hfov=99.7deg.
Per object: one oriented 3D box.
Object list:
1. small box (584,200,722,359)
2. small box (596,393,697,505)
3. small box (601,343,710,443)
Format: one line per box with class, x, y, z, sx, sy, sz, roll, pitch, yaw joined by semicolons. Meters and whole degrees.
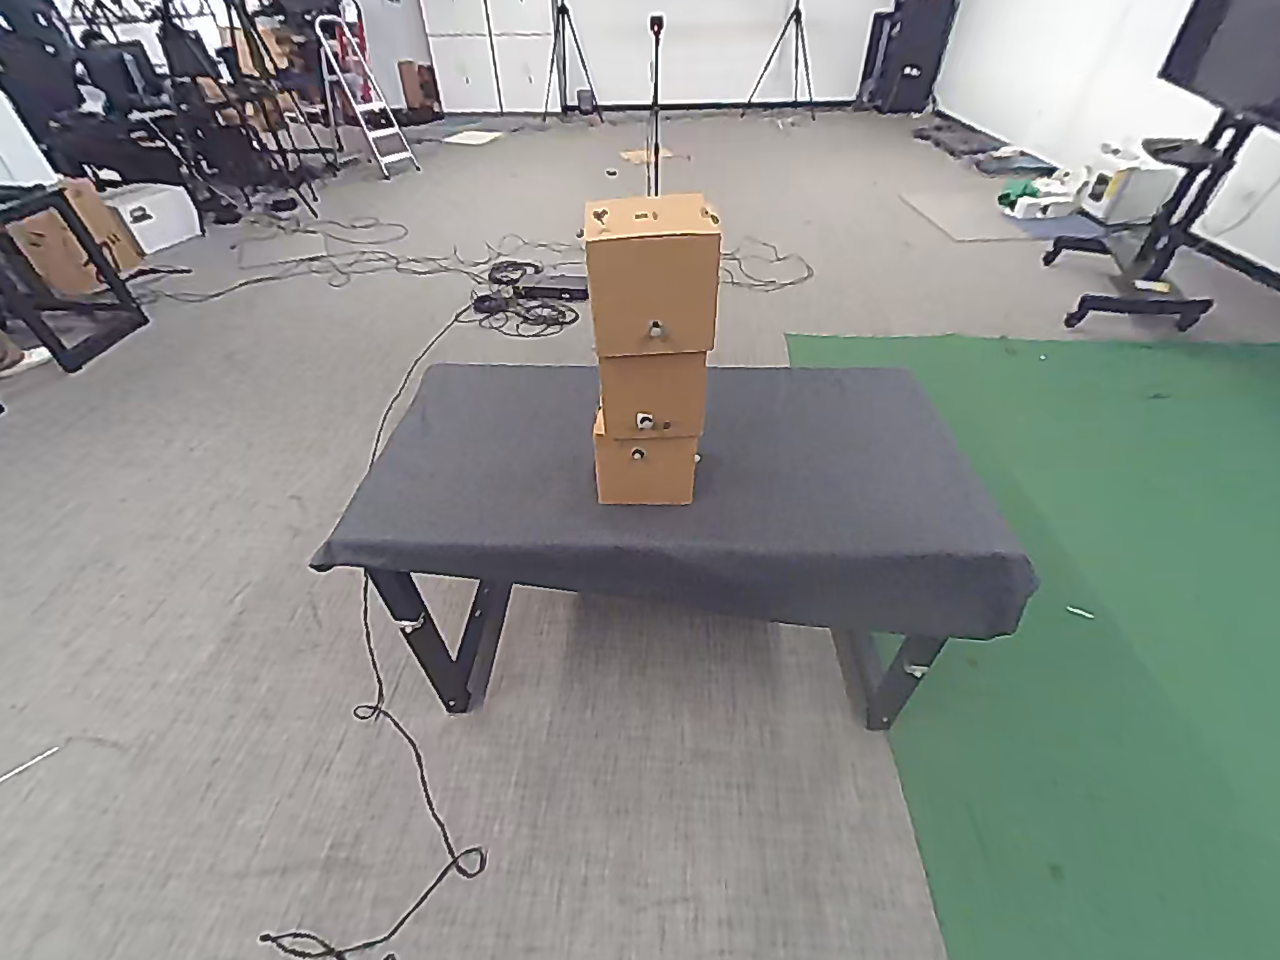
small box;0.016;-0.291;0.788;0.179;0.176;0.168;-4;42;0
small box;0.017;-0.066;1.024;0.179;0.176;0.168;1;42;2
small box;0.022;-0.182;0.911;0.168;0.176;0.179;-4;43;0
